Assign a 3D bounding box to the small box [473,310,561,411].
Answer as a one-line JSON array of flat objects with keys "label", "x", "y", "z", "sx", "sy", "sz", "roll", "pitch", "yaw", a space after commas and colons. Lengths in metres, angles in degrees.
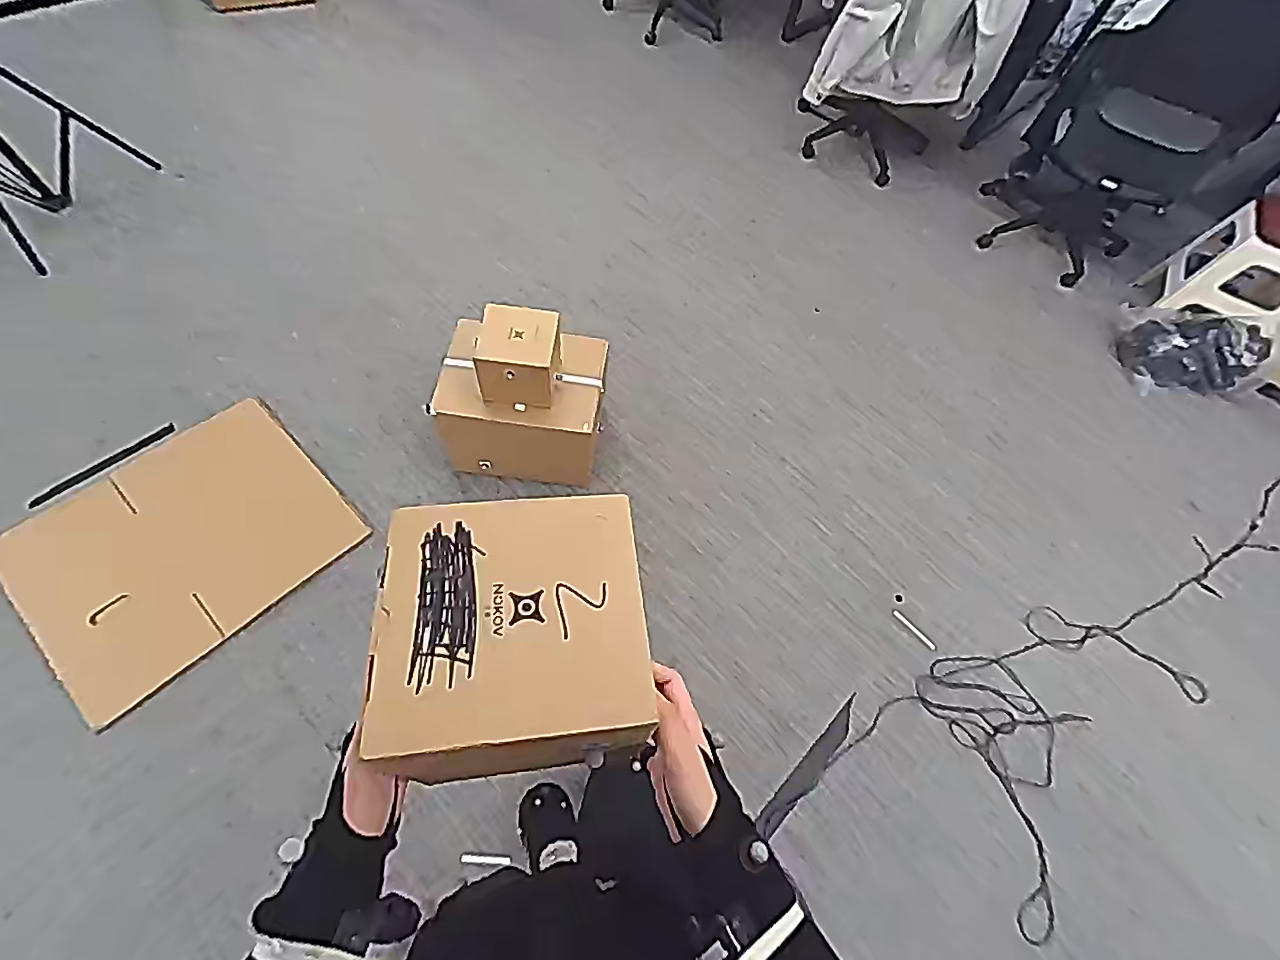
[{"label": "small box", "x": -0.290, "y": -0.285, "z": 1.314, "sx": 0.179, "sy": 0.176, "sz": 0.168, "roll": 6, "pitch": 64, "yaw": -5}]
